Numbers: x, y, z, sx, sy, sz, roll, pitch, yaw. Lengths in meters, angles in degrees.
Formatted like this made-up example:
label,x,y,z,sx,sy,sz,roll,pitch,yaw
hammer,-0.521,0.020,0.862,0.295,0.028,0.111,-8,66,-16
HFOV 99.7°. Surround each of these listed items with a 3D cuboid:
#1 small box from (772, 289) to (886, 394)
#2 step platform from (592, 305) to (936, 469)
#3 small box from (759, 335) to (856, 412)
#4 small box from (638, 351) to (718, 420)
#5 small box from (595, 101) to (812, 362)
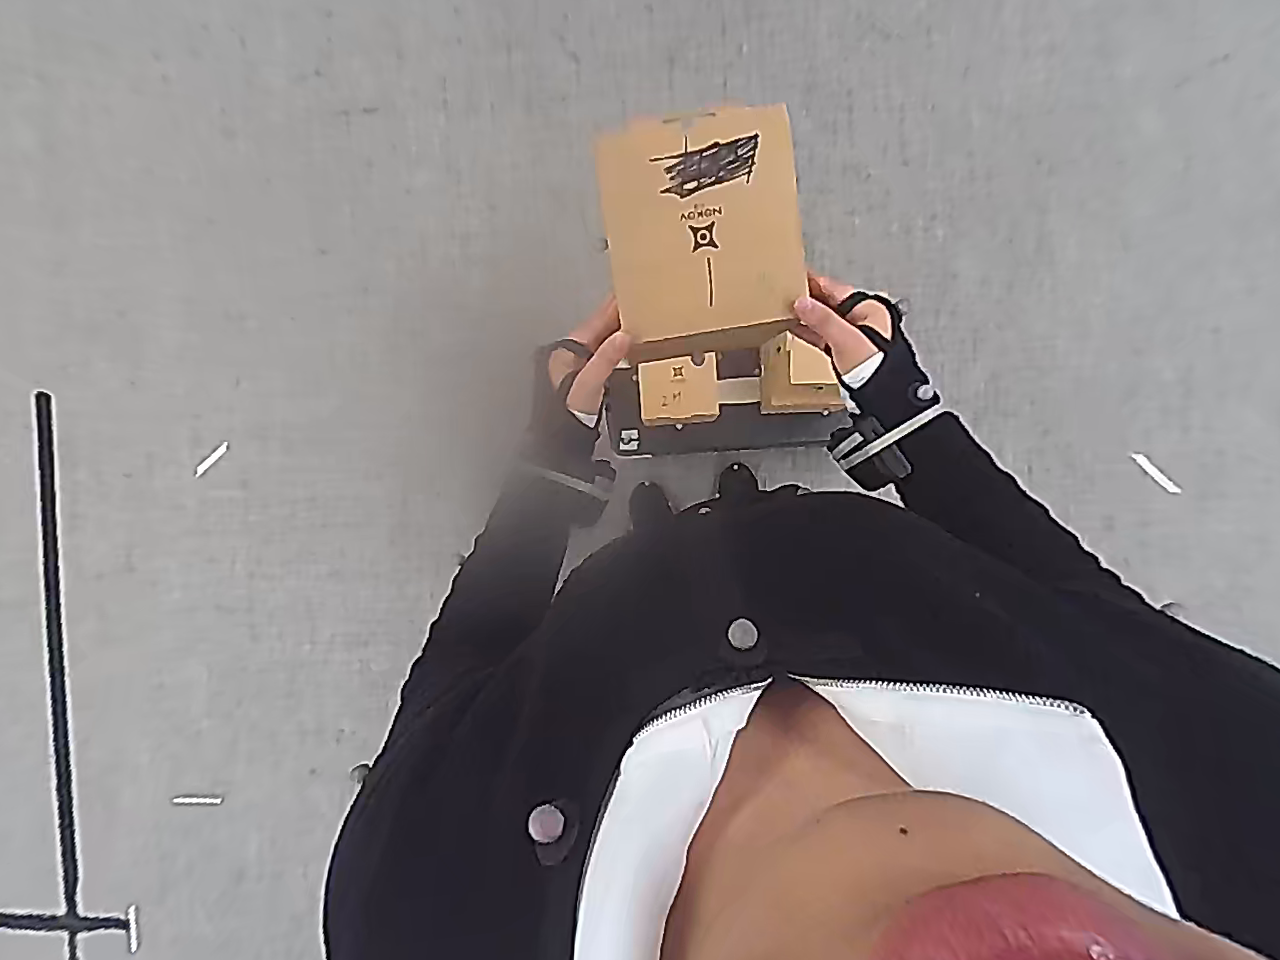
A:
label,x,y,z,sx,sy,sz,roll,pitch,yaw
small box,0.353,-0.257,1.038,0.179,0.176,0.168,0,91,4
step platform,0.246,-0.186,1.173,0.684,0.204,0.286,-4,91,3
small box,0.361,-0.241,1.201,0.179,0.176,0.168,-3,90,3
small box,0.082,-0.224,1.217,0.168,0.176,0.179,-4,91,4
small box,0.053,-0.223,0.532,0.168,0.176,0.179,-9,96,1
